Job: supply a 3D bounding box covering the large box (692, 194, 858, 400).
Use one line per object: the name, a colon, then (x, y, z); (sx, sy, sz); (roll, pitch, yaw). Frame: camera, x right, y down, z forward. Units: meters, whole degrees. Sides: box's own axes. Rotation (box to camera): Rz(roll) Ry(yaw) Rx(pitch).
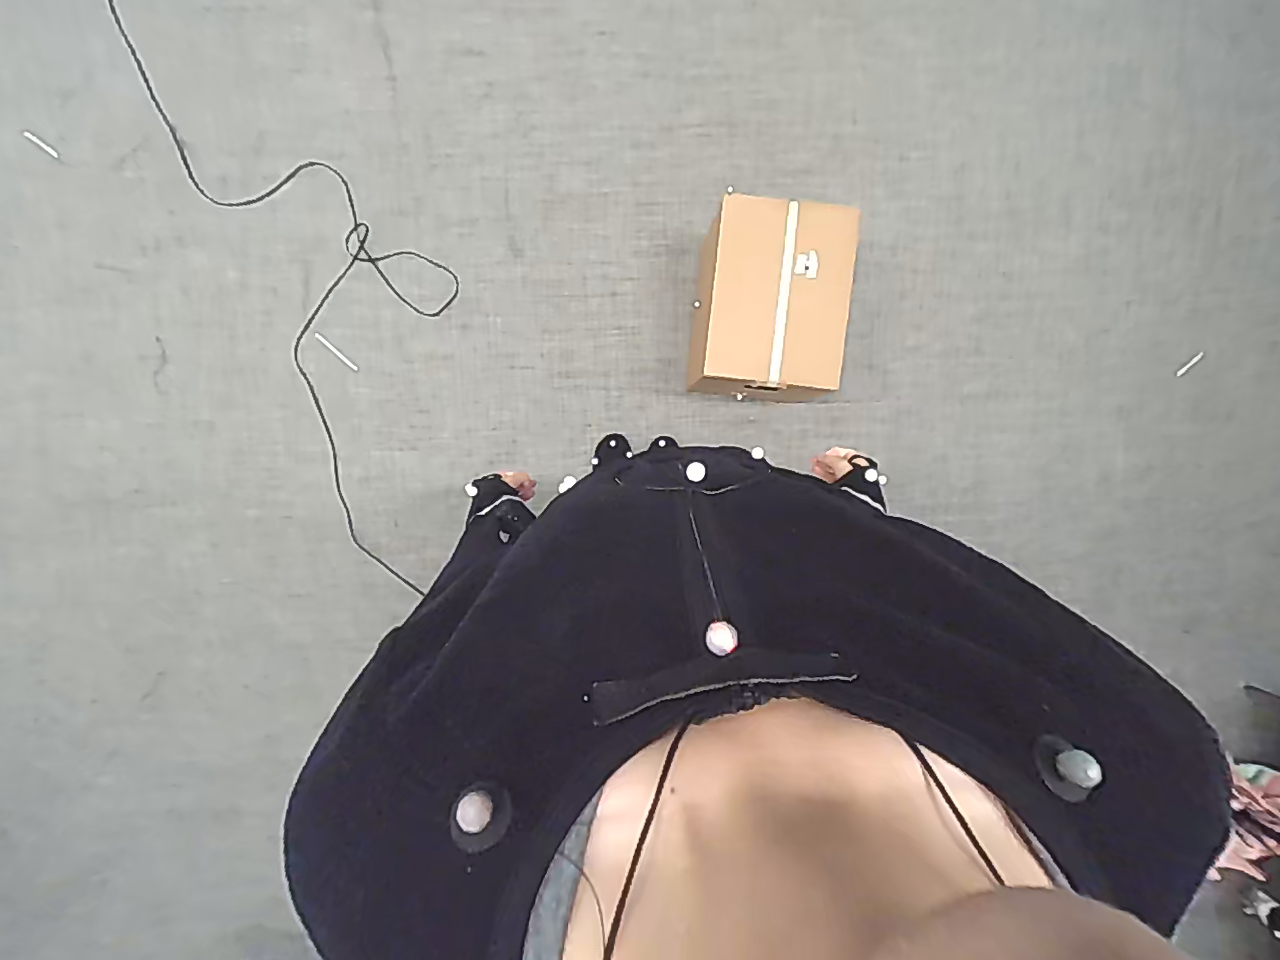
large box: (0.313, -0.426, 1.353); (0.320, 0.320, 0.408); (6, 92, -3)
